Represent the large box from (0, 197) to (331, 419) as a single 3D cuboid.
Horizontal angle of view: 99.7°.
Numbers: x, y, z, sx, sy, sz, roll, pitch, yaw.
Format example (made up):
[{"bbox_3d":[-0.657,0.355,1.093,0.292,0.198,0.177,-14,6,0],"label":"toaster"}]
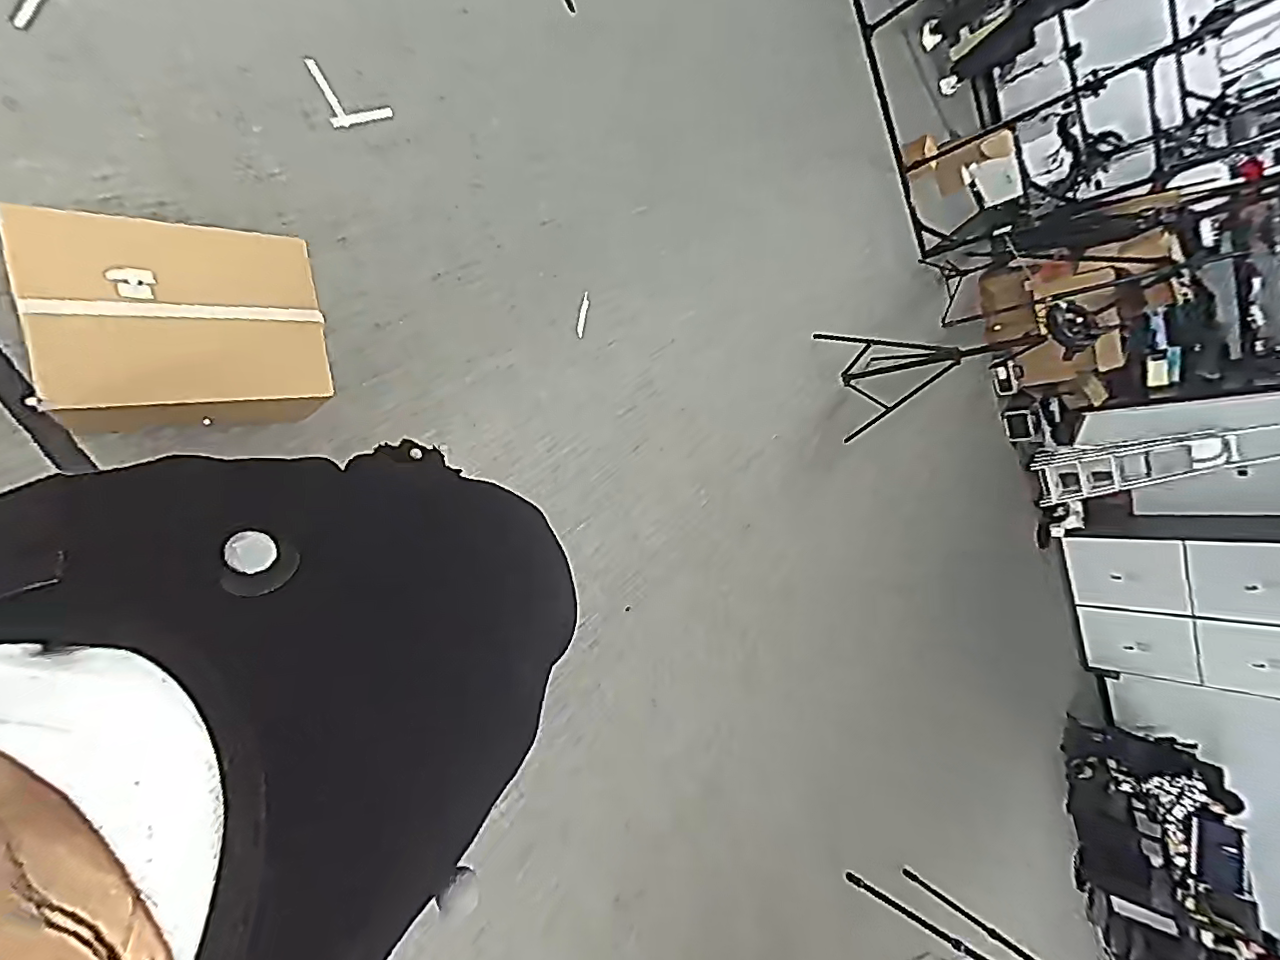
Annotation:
[{"bbox_3d":[-0.882,-0.303,1.058,0.408,0.320,0.320,-12,94,-39],"label":"large box"}]
